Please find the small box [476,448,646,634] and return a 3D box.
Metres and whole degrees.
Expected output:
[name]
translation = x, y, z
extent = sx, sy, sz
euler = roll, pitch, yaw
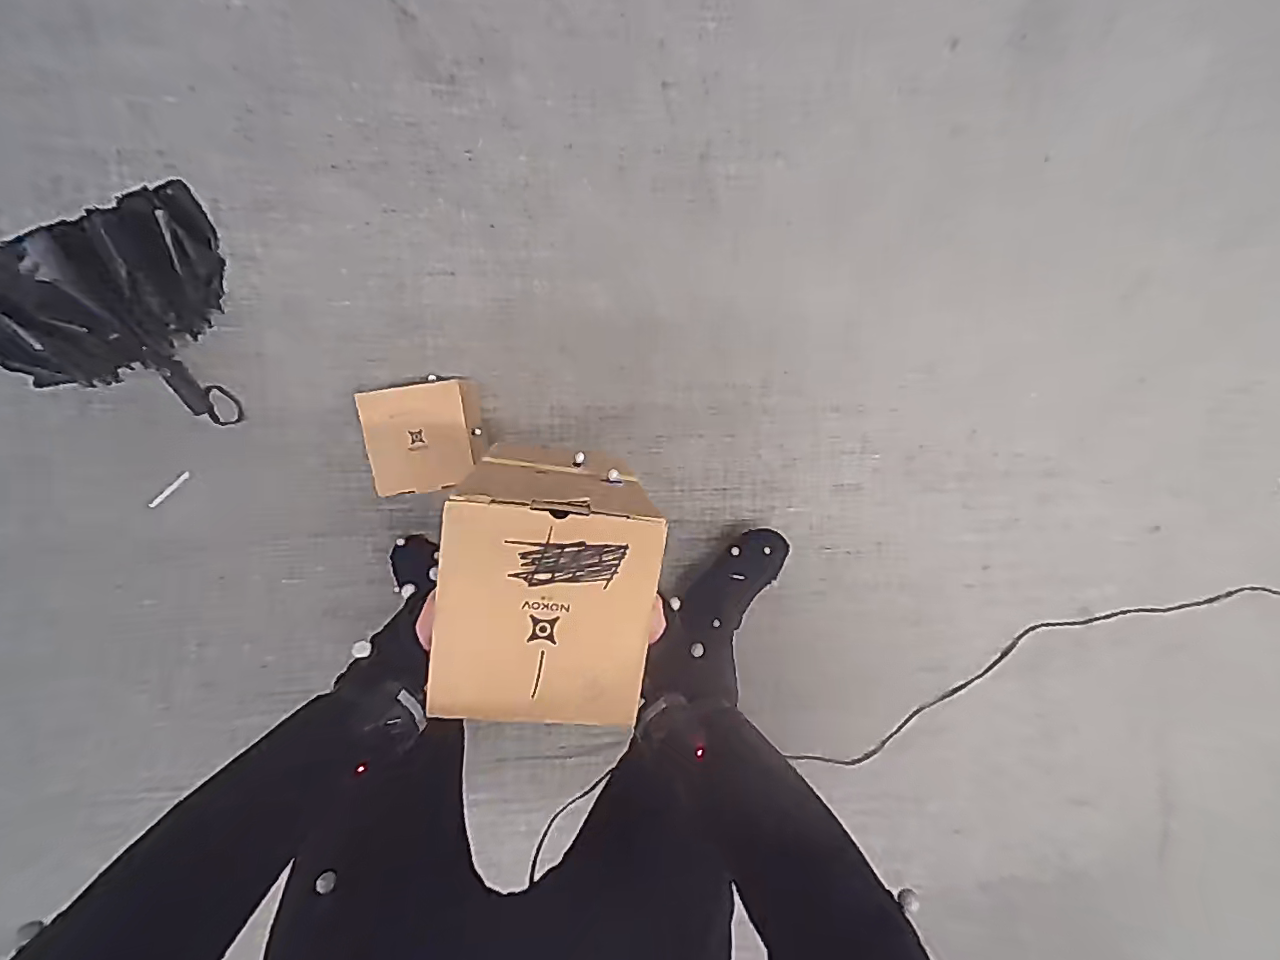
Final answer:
[small box]
translation = -0.095, 0.064, 0.659
extent = 0.168, 0.176, 0.179
euler = 7, 98, -9
